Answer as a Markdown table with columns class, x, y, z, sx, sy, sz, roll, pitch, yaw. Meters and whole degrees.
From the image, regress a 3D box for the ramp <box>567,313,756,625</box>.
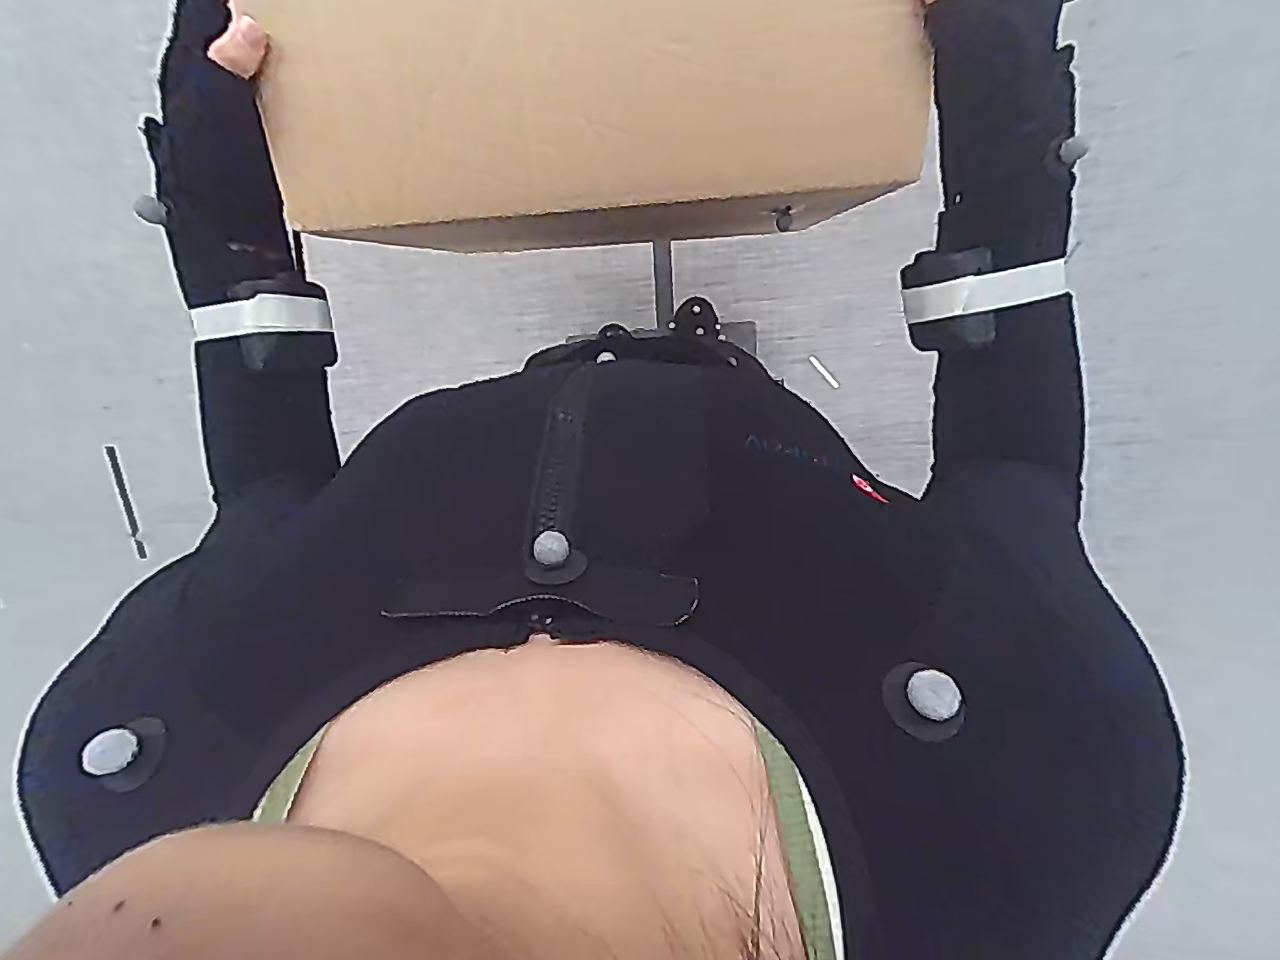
| class | x | y | z | sx | sy | sz | roll | pitch | yaw |
| --- | --- | --- | --- | --- | --- | --- | --- | --- | --- |
| ramp | 0.099 | 0.033 | 1.604 | 0.509 | 0.206 | 0.991 | -5 | 106 | 5 |

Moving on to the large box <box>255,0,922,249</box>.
| class | x | y | z | sx | sy | sz | roll | pitch | yaw |
| --- | --- | --- | --- | --- | --- | --- | --- | --- | --- |
| large box | -0.028 | -0.377 | 0.445 | 0.408 | 0.320 | 0.320 | -2 | 110 | 5 |
